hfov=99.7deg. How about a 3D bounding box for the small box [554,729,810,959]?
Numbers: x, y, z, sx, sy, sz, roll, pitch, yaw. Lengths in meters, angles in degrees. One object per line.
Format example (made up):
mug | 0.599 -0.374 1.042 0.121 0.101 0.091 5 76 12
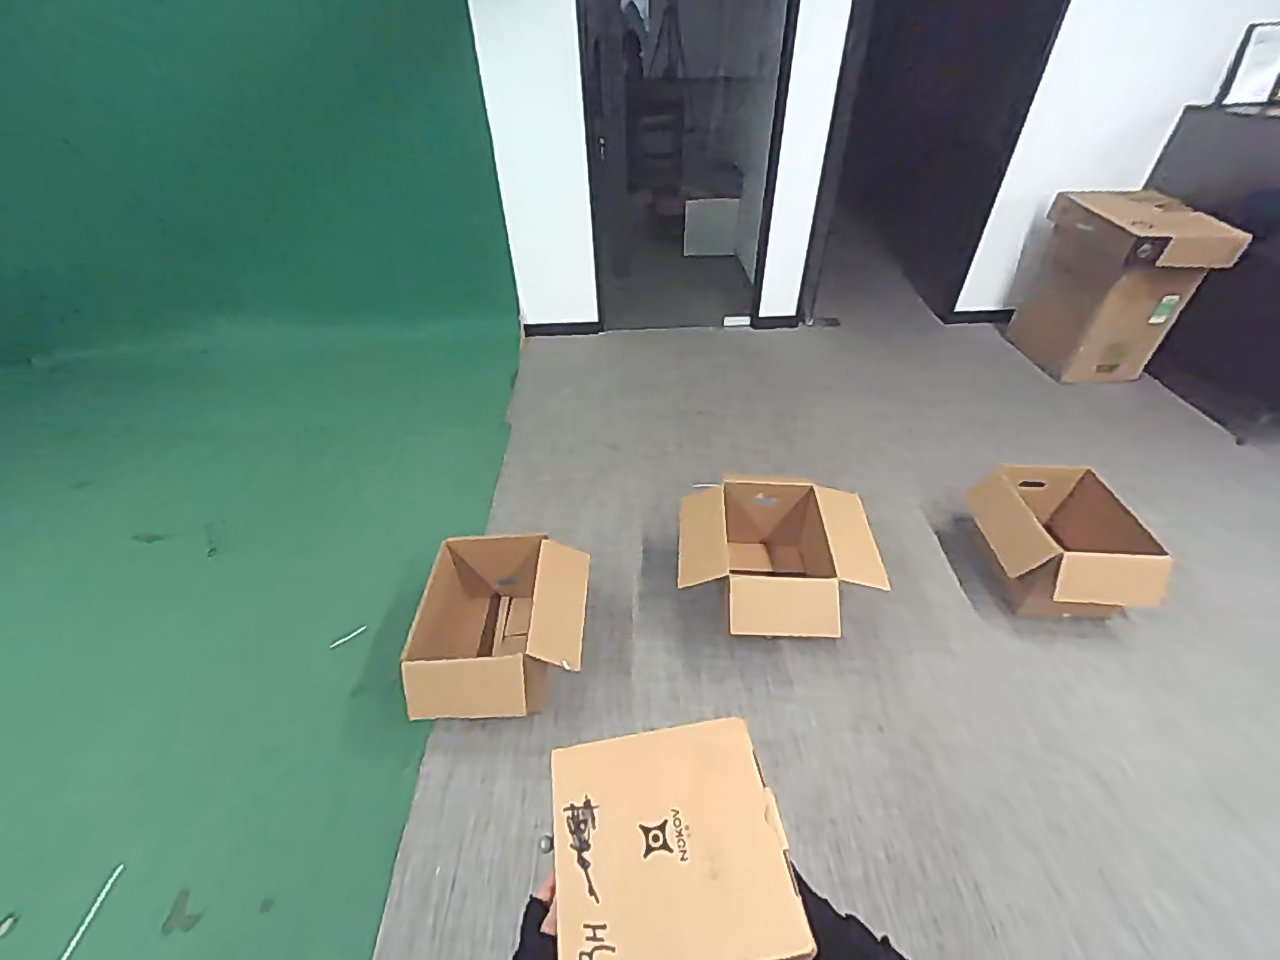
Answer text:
small box | 0.021 0.345 0.470 0.179 0.176 0.168 -6 39 -6
